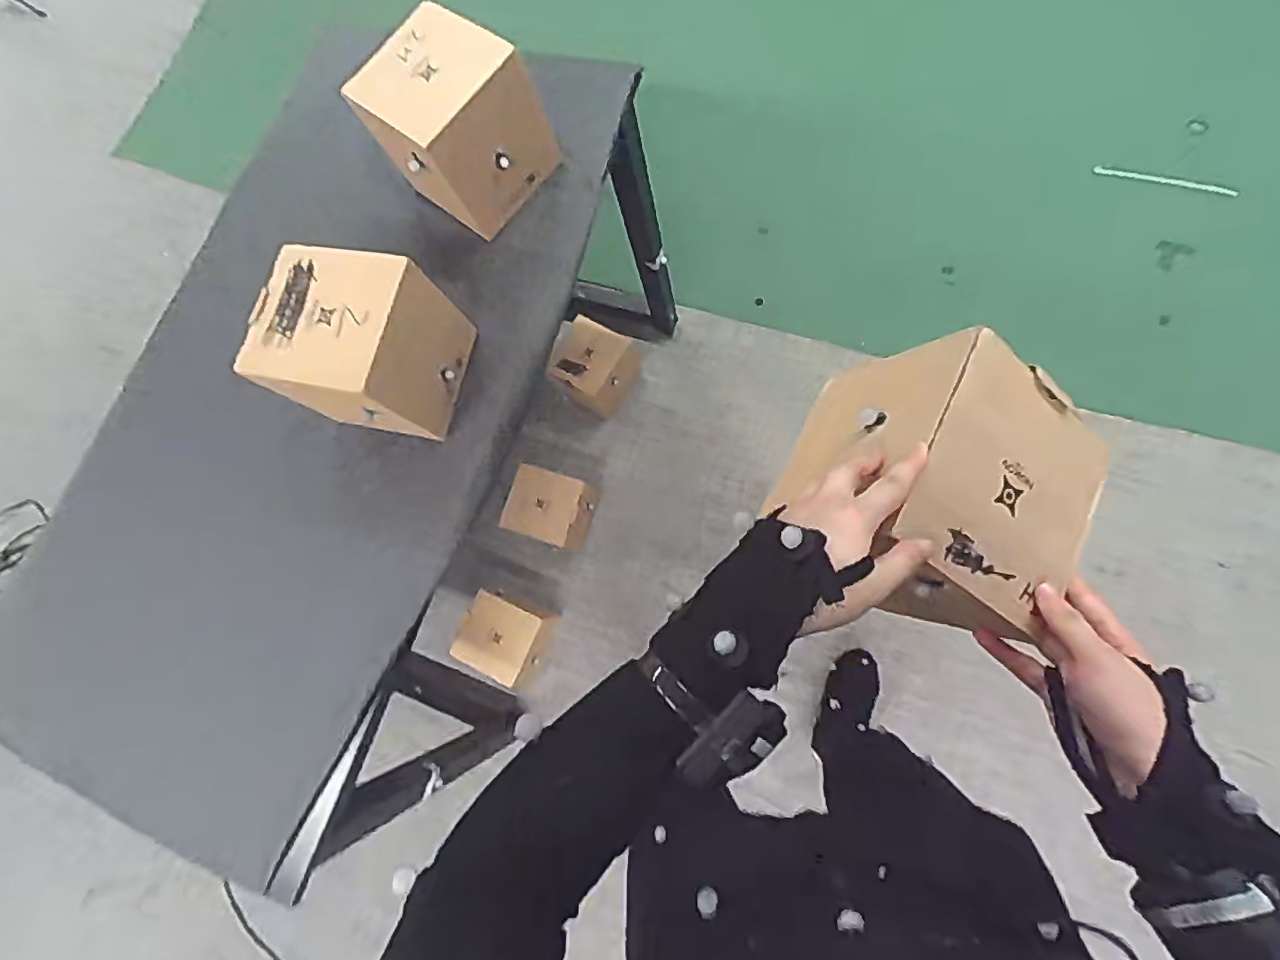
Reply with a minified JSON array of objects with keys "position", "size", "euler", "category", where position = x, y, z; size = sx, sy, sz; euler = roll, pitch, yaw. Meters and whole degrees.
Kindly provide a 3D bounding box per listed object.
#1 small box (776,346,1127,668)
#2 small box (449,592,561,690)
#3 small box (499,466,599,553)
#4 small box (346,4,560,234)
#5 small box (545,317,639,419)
[{"position":[0.247,0.022,0.457],"size":[0.168,0.176,0.179],"euler":[34,78,-15],"category":"small box"},{"position":[-0.316,0.379,1.308],"size":[0.179,0.176,0.168],"euler":[22,82,14],"category":"small box"},{"position":[-0.218,0.080,1.359],"size":[0.179,0.176,0.168],"euler":[16,79,14],"category":"small box"},{"position":[-0.237,-0.469,0.728],"size":[0.179,0.176,0.168],"euler":[40,86,18],"category":"small box"},{"position":[-0.117,-0.288,1.427],"size":[0.168,0.176,0.179],"euler":[32,82,15],"category":"small box"}]
